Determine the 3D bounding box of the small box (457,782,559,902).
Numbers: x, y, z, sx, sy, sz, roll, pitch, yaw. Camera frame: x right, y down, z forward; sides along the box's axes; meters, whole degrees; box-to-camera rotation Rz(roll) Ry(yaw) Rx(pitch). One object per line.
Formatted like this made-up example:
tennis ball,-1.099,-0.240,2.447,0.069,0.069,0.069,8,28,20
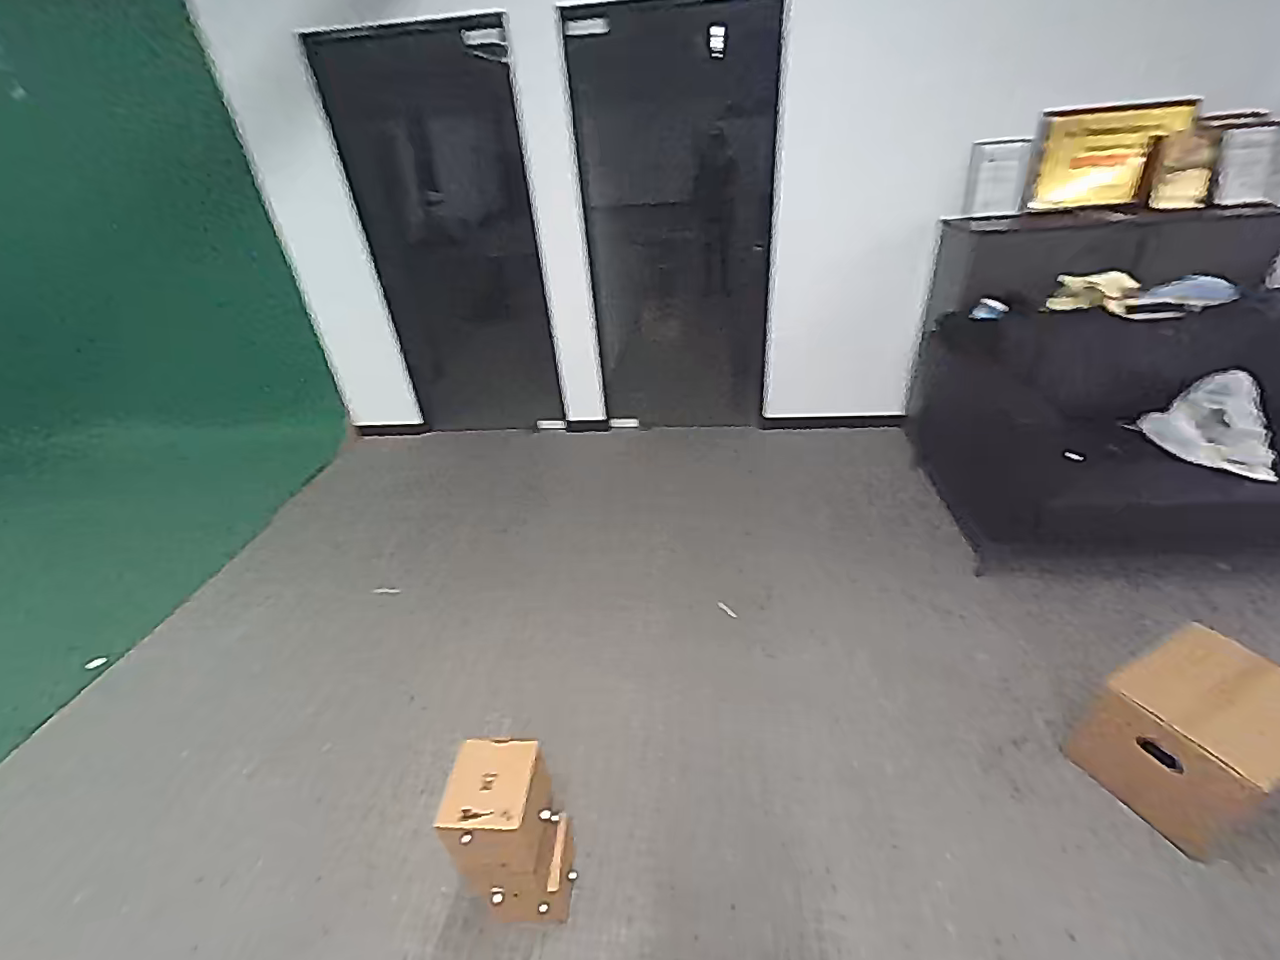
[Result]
small box,-0.282,0.795,1.200,0.168,0.176,0.179,-1,33,6

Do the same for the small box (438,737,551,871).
small box,-0.285,0.659,1.108,0.168,0.176,0.179,-1,31,6
